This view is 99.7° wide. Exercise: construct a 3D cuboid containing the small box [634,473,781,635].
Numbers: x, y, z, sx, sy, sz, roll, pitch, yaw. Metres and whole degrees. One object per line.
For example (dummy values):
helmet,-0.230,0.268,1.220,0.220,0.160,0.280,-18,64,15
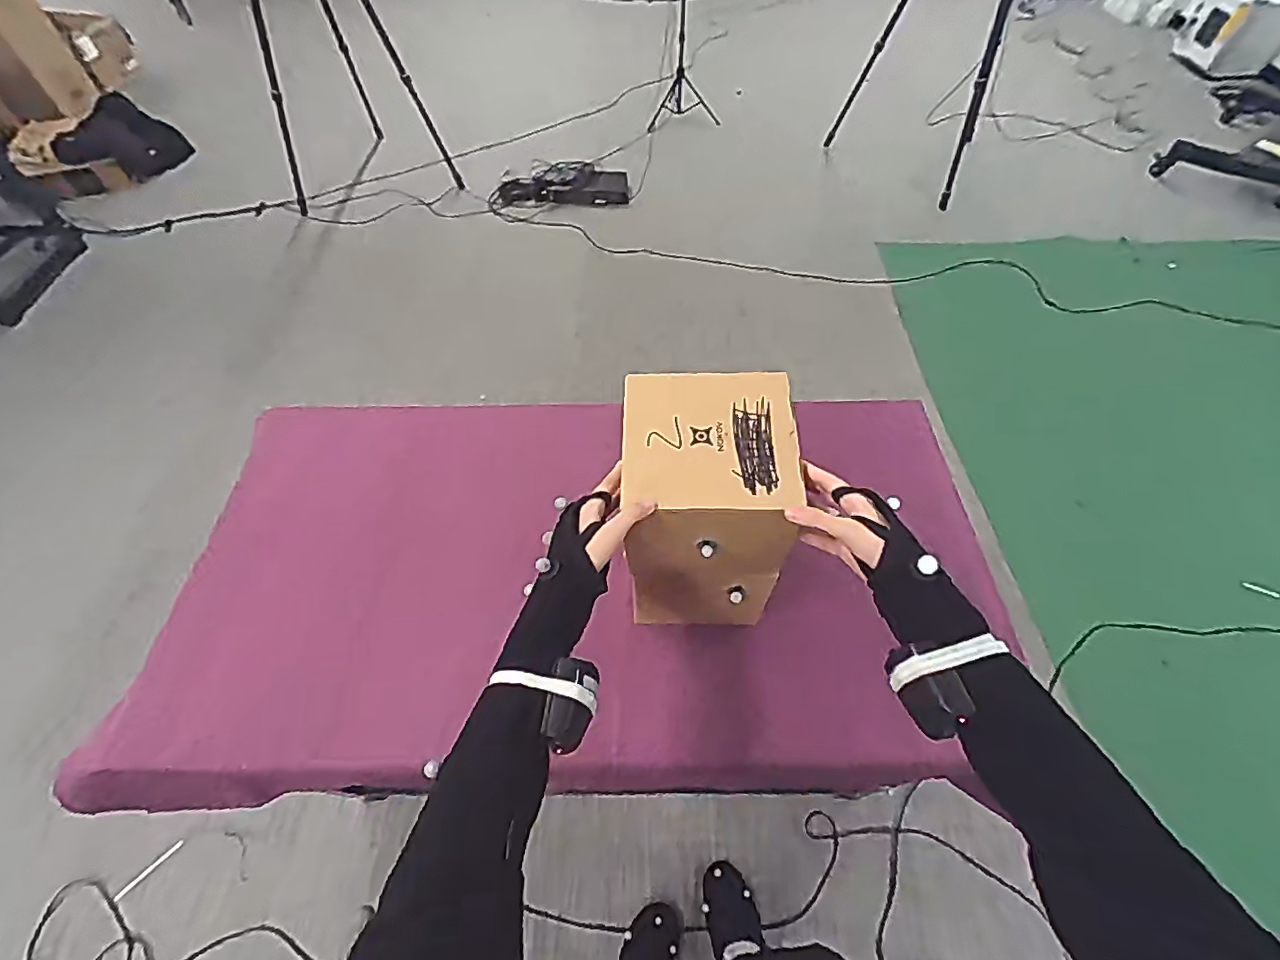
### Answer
small box,0.082,0.106,0.748,0.179,0.176,0.168,0,54,1
